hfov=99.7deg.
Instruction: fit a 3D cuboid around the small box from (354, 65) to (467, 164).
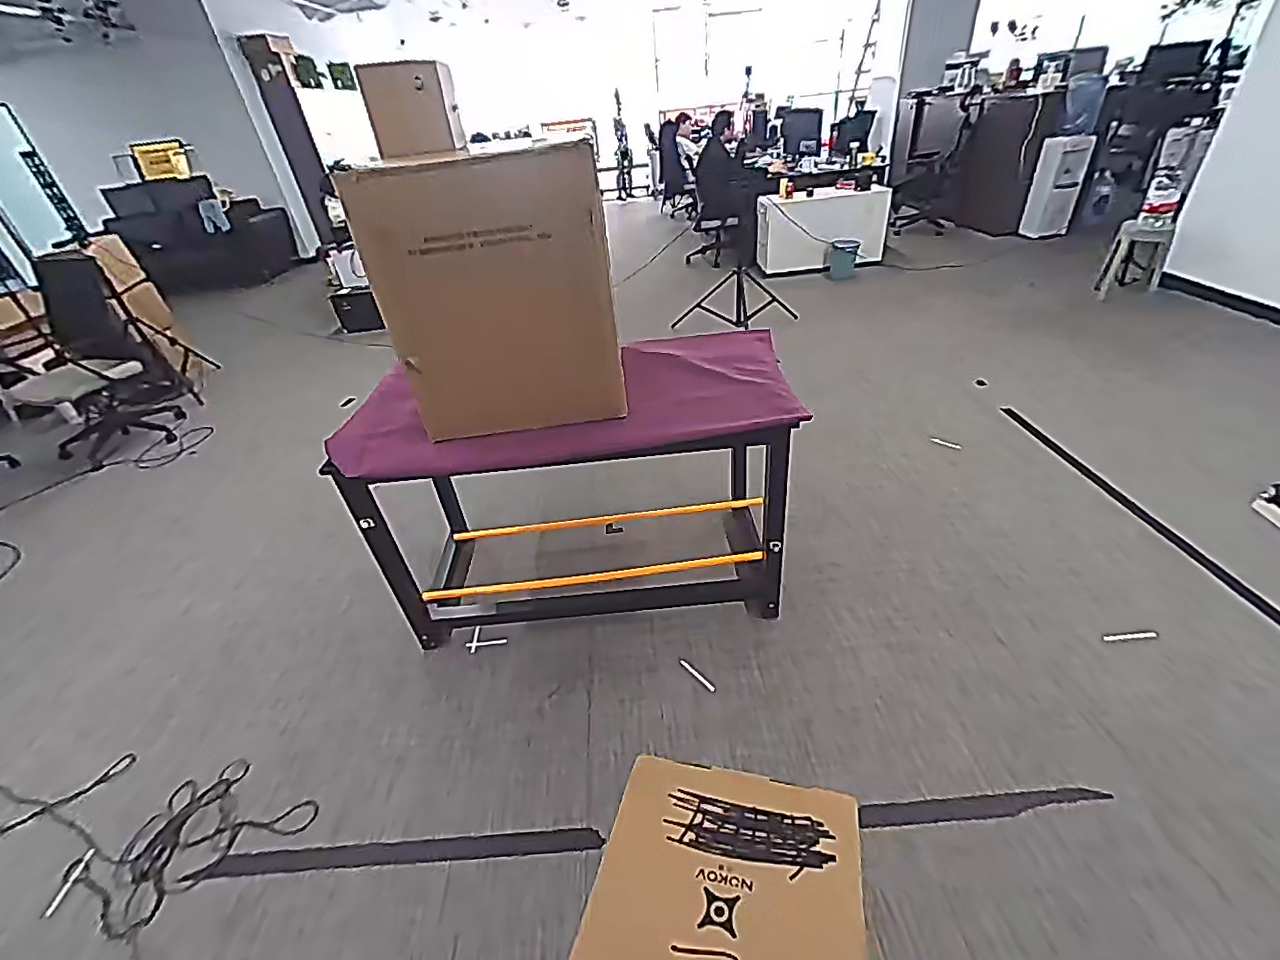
[{"bbox_3d":[-0.513,-0.838,1.243,0.179,0.176,0.168,-7,34,-2],"label":"small box"}]
